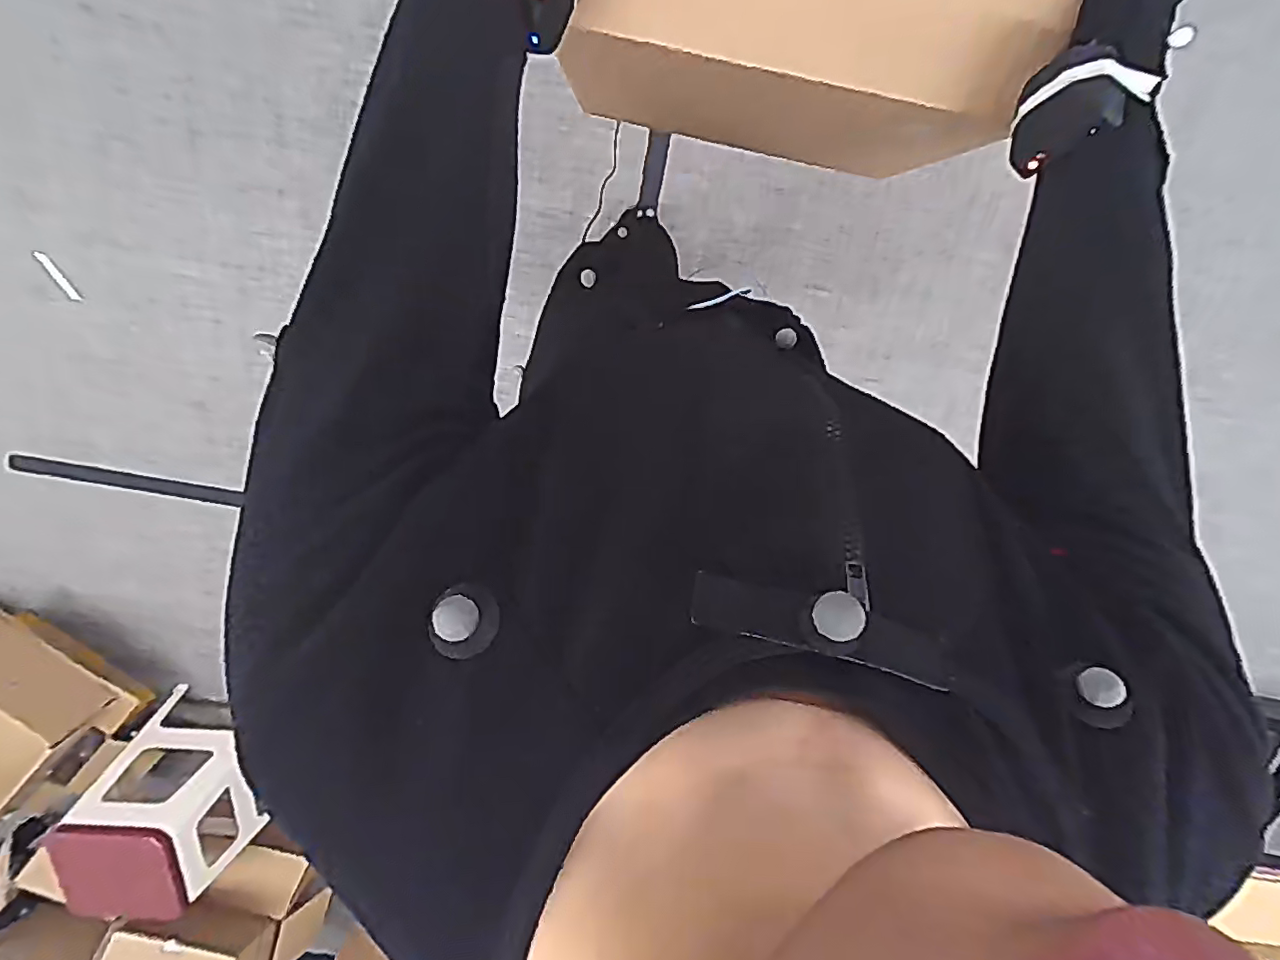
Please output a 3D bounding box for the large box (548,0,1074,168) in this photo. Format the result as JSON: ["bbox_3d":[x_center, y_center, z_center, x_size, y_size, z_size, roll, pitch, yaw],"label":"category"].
[{"bbox_3d":[0.149,-0.522,0.506,0.408,0.320,0.320,10,114,-4],"label":"large box"}]
